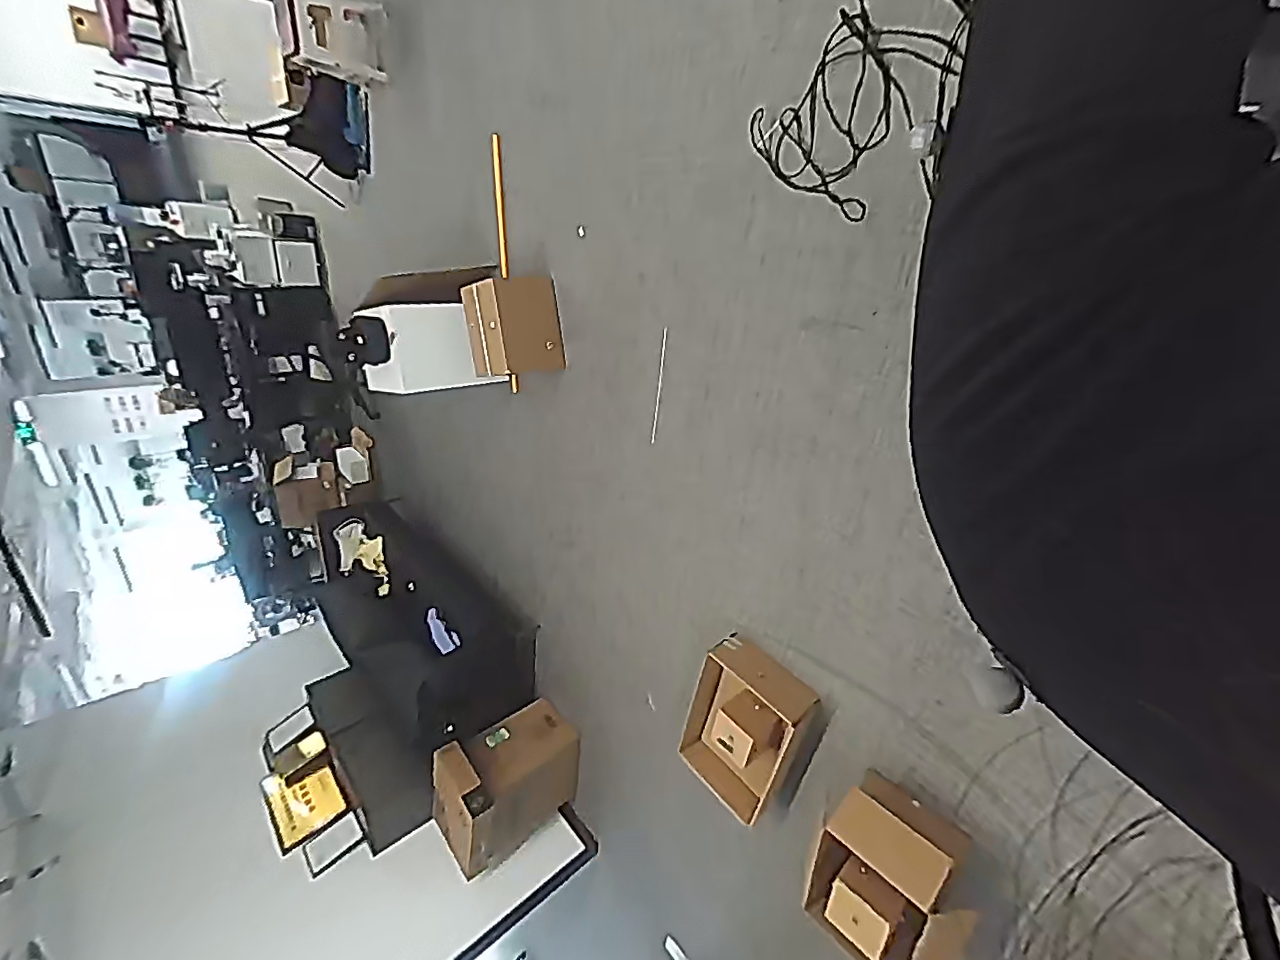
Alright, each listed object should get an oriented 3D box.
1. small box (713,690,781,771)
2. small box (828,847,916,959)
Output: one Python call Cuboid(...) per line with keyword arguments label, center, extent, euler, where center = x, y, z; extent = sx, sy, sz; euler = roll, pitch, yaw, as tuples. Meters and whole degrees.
Cuboid(label="small box", center=(0.397, 0.923, 2.005), extent=(0.168, 0.176, 0.179), euler=(32, 126, 38))
Cuboid(label="small box", center=(0.681, 1.233, 1.582), extent=(0.168, 0.176, 0.179), euler=(25, 119, 43))
